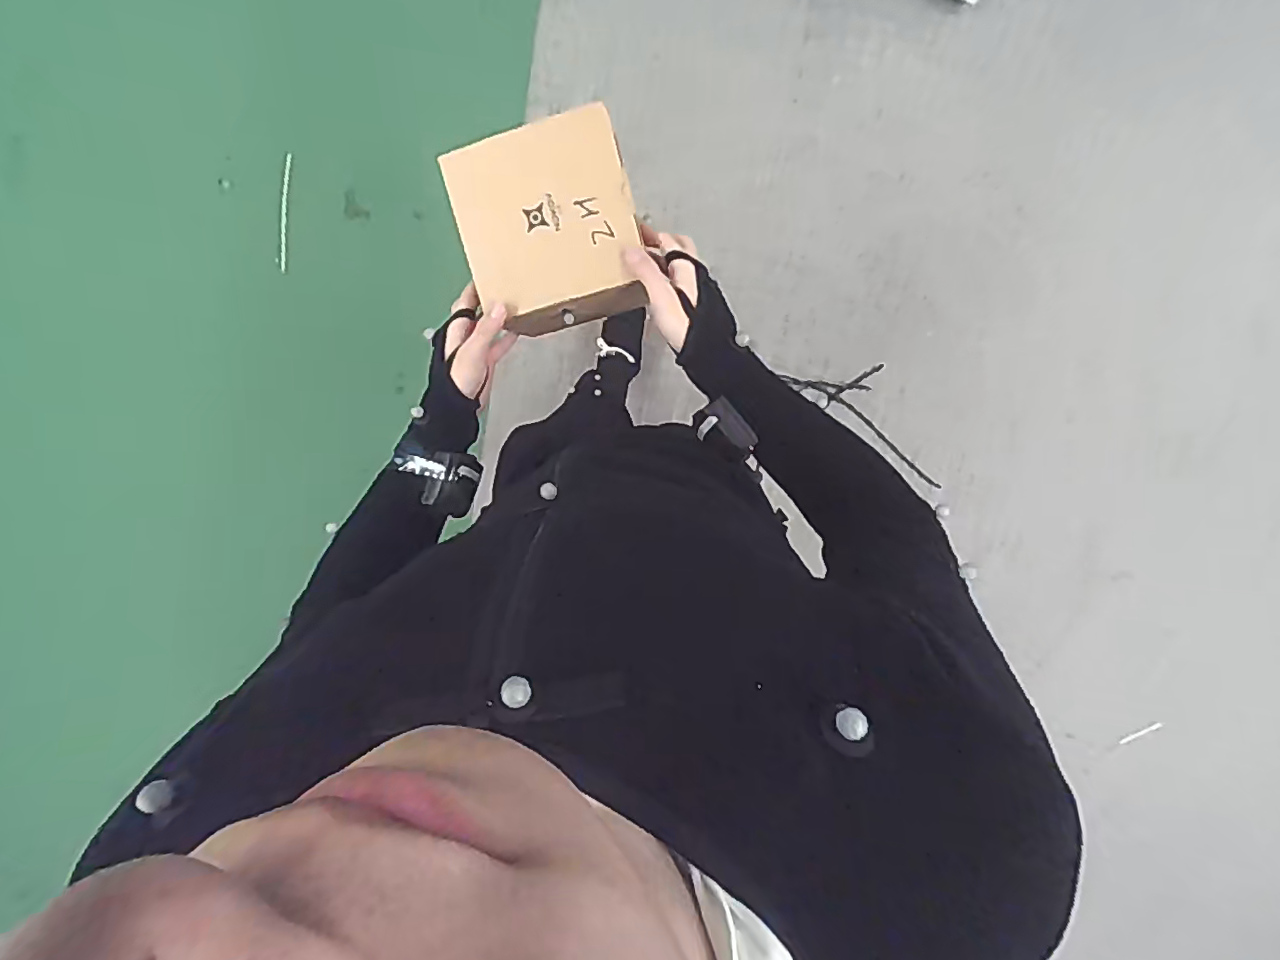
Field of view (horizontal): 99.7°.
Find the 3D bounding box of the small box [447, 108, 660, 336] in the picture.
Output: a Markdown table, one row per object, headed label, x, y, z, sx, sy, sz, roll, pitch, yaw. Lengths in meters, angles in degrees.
| label | x | y | z | sx | sy | sz | roll | pitch | yaw |
| --- | --- | --- | --- | --- | --- | --- | --- | --- | --- |
| small box | -0.081 | -0.266 | 0.606 | 0.179 | 0.176 | 0.168 | -13 | 99 | 6 |
